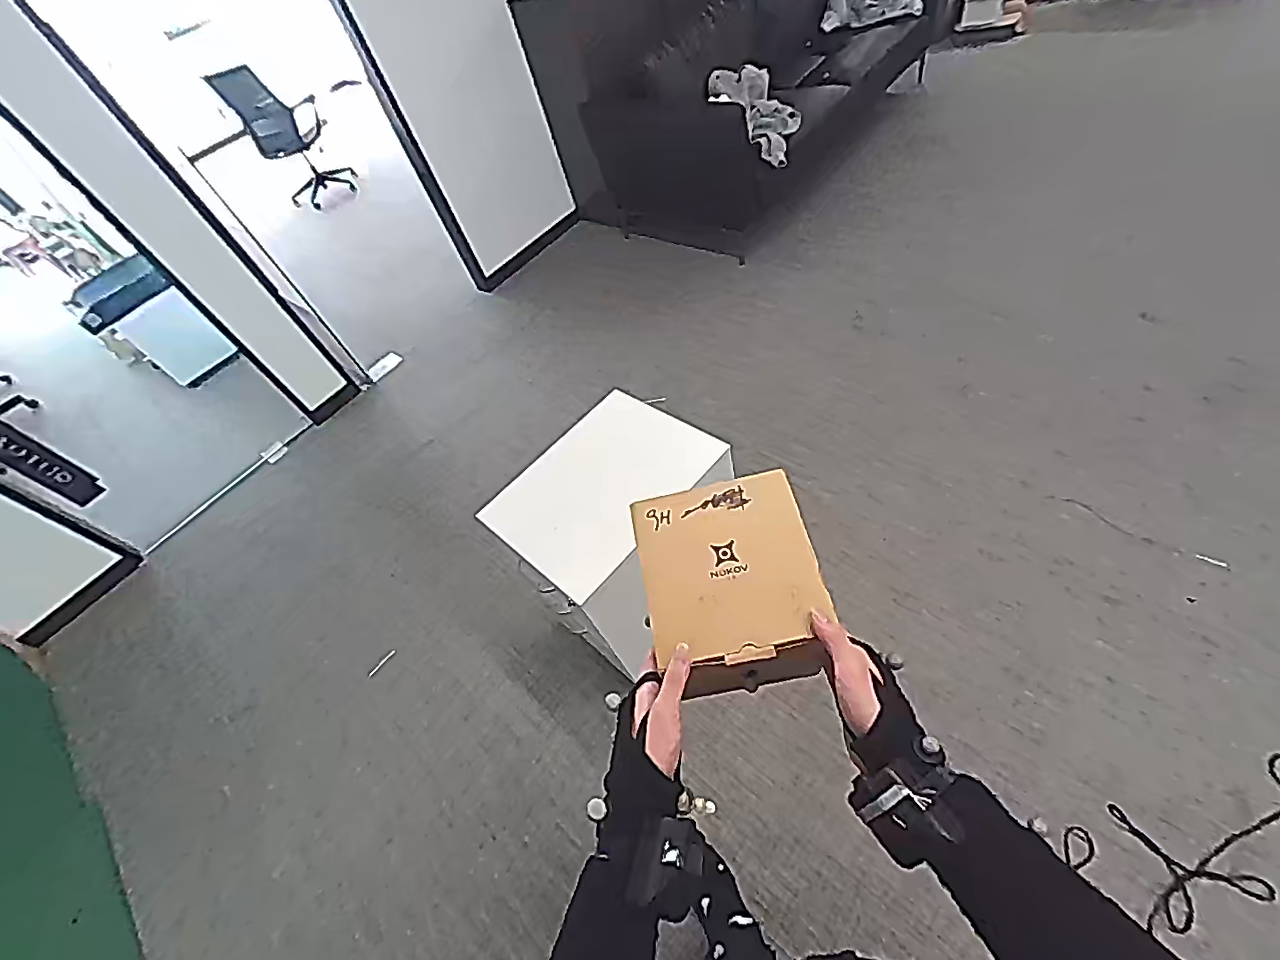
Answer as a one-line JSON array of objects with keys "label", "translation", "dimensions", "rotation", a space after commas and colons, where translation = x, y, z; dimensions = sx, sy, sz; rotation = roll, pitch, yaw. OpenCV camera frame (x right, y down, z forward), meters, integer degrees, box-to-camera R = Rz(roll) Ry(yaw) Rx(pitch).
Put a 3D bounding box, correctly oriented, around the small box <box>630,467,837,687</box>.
[{"label": "small box", "translation": [0.098, 0.117, 0.592], "dimensions": [0.168, 0.176, 0.179], "rotation": [-15, 58, 3]}]
